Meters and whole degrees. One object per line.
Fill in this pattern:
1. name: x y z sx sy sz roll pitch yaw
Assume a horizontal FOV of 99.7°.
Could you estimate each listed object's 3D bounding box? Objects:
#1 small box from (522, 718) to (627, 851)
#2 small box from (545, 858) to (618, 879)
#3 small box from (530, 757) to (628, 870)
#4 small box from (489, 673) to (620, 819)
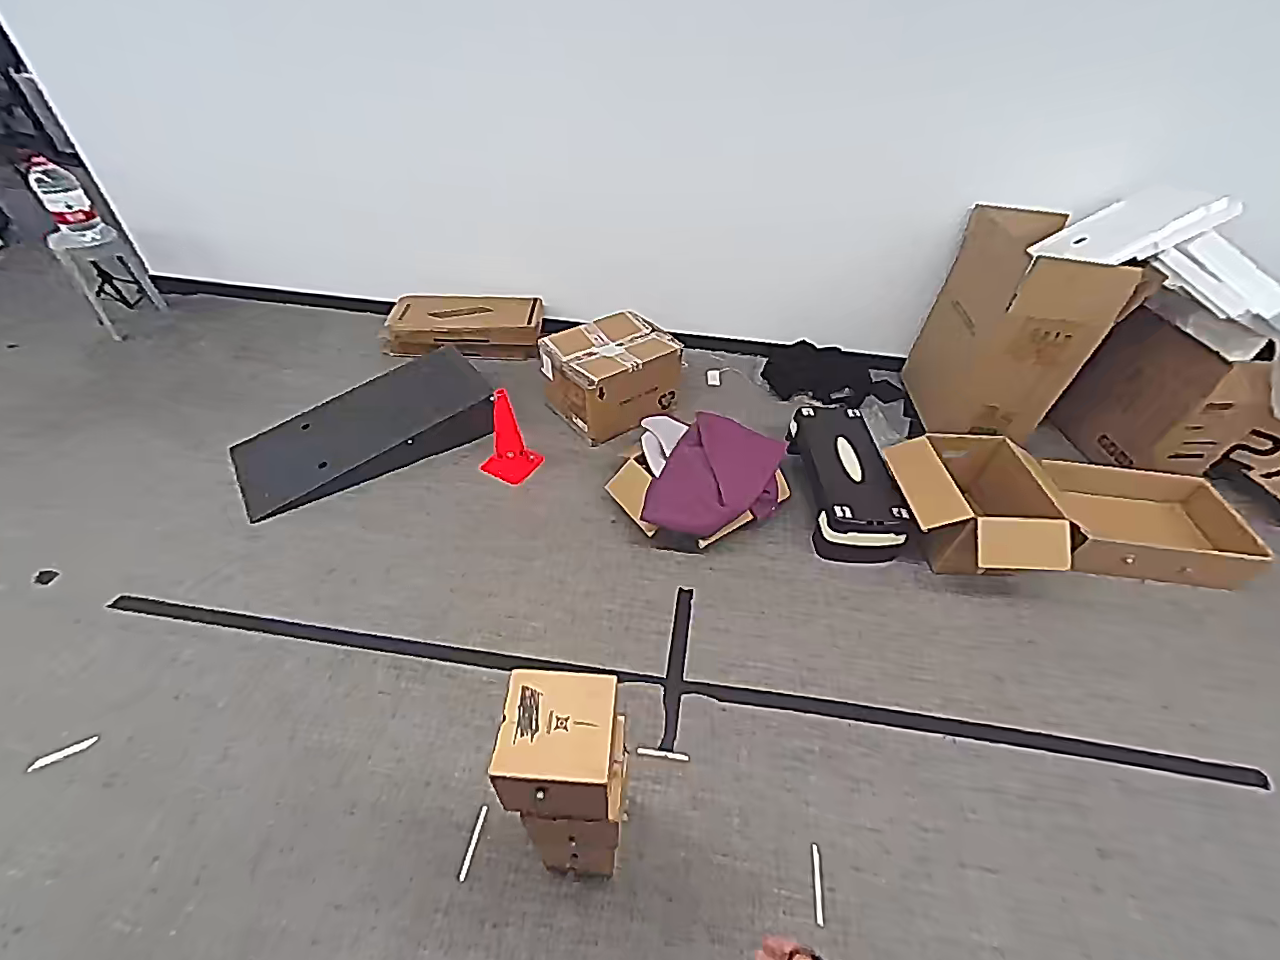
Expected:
1. small box: -0.112 0.555 0.995 0.168 0.176 0.179 2 44 1
2. small box: -0.124 0.782 1.235 0.168 0.176 0.179 5 45 4
3. small box: -0.115 0.675 1.109 0.168 0.176 0.179 6 44 4
4. small box: -0.128 0.435 0.882 0.179 0.176 0.168 3 43 1
